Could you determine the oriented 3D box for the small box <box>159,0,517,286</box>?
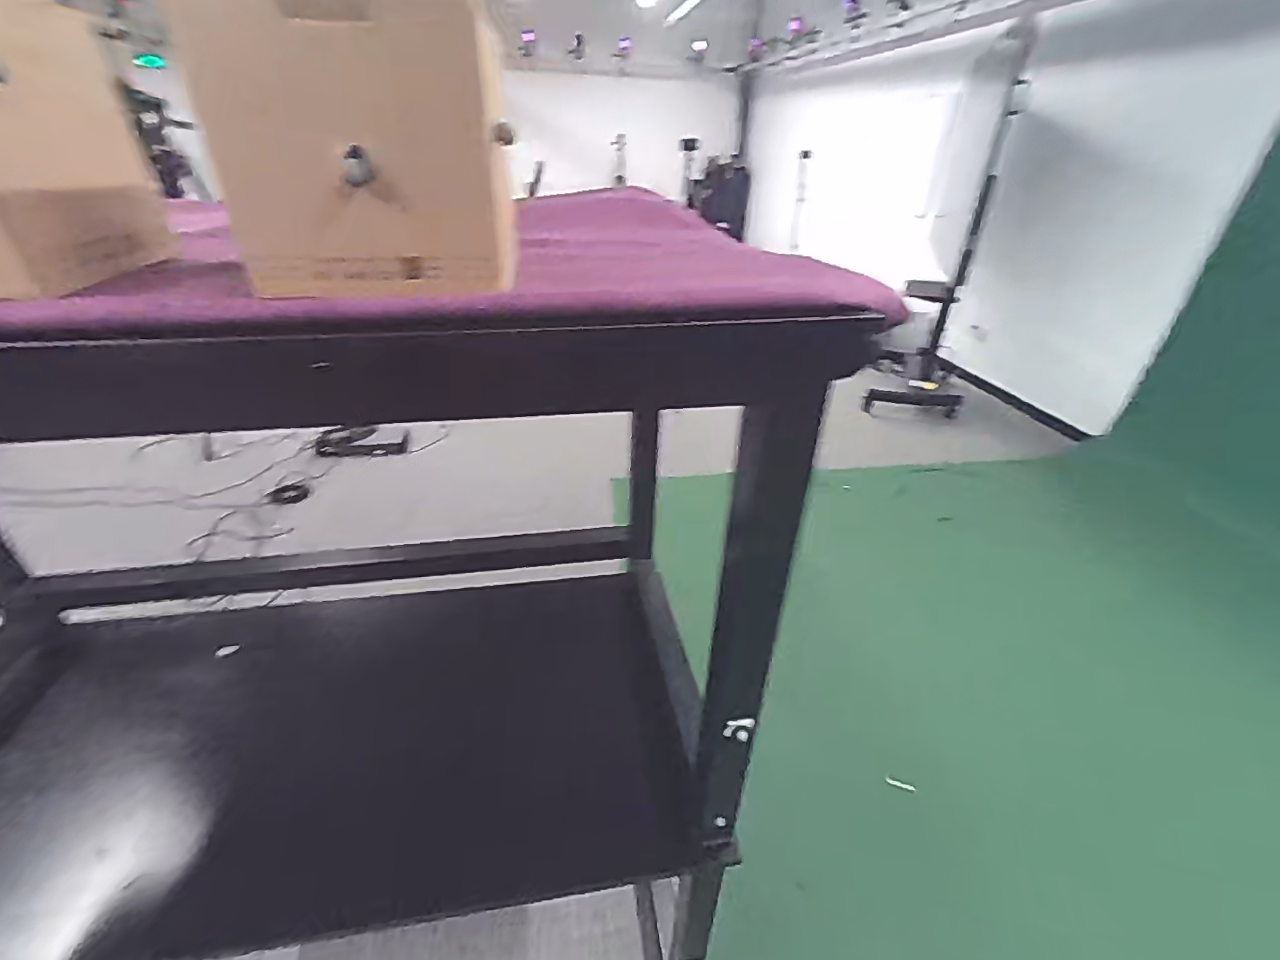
[{"bbox_3d":[-0.184,-0.246,0.398,0.168,0.176,0.179,-3,33,-8],"label":"small box"}]
